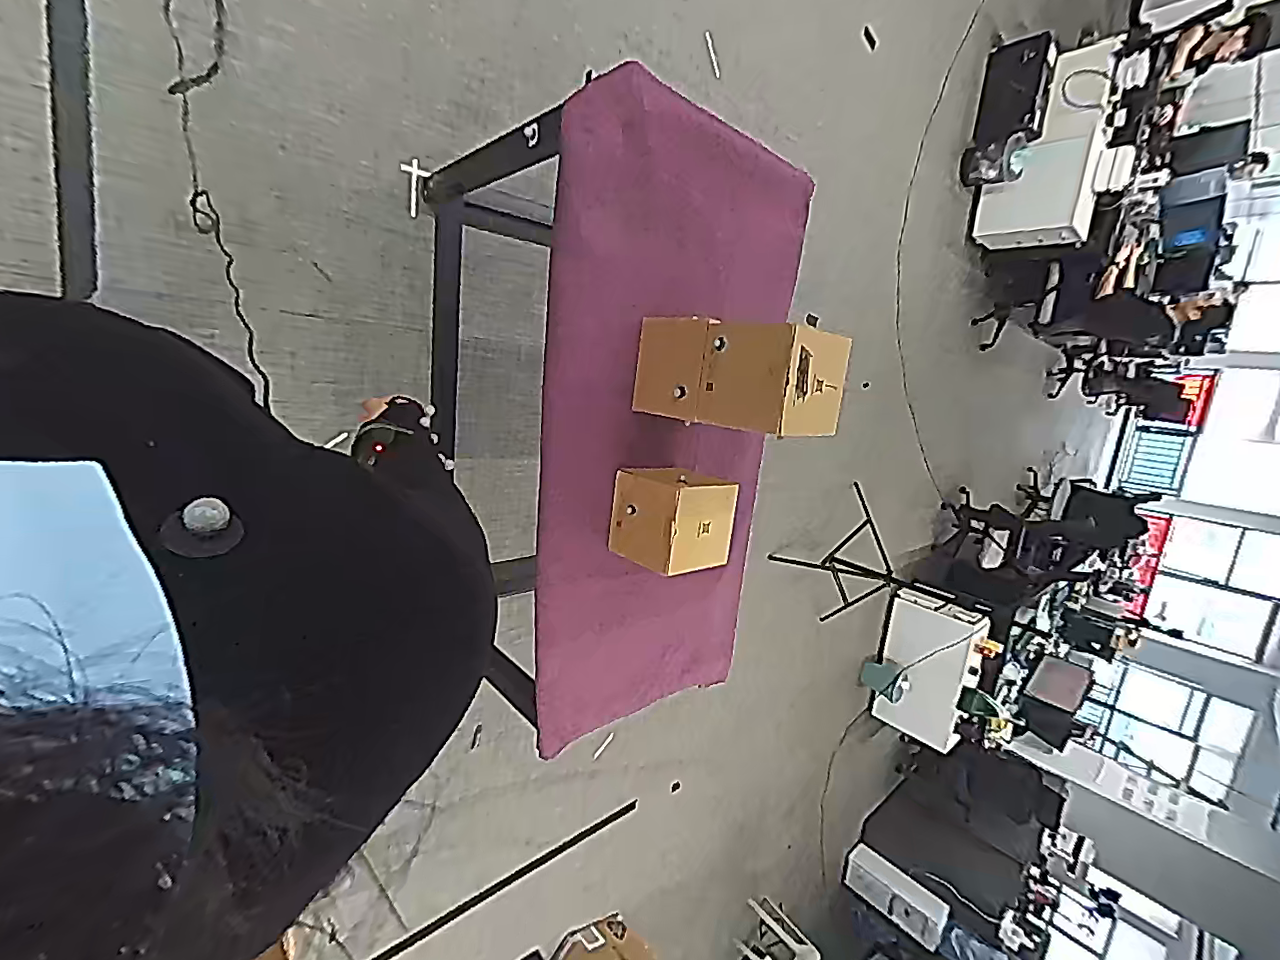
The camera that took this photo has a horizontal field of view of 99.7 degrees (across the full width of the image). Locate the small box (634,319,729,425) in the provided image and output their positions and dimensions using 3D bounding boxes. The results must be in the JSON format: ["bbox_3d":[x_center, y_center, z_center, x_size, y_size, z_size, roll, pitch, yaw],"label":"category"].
[{"bbox_3d":[0.106,-0.202,1.021,0.168,0.176,0.179,-2,104,-43],"label":"small box"}]

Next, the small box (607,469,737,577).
[{"bbox_3d":[0.061,0.074,1.063,0.179,0.176,0.168,-2,104,-43],"label":"small box"}]

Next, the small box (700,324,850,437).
[{"bbox_3d":[0.222,-0.166,0.909,0.179,0.176,0.168,-5,106,-43],"label":"small box"}]
